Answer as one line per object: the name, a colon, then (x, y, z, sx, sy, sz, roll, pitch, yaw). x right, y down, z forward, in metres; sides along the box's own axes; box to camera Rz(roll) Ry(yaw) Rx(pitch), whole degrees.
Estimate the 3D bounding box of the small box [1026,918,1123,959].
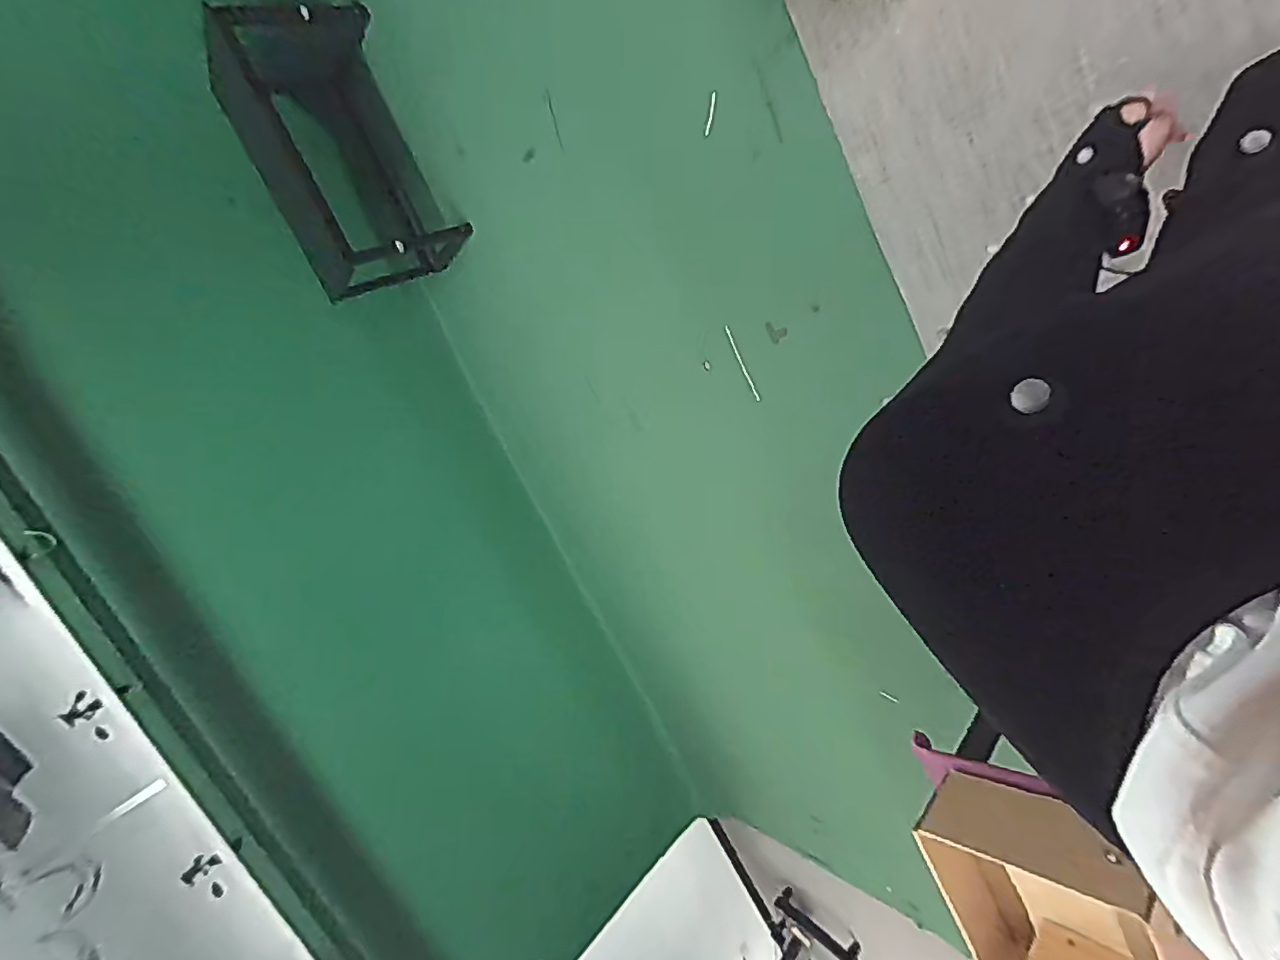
small box: (0.928, 1.086, 1.132, 0.168, 0.176, 0.179, -11, 107, 54)
